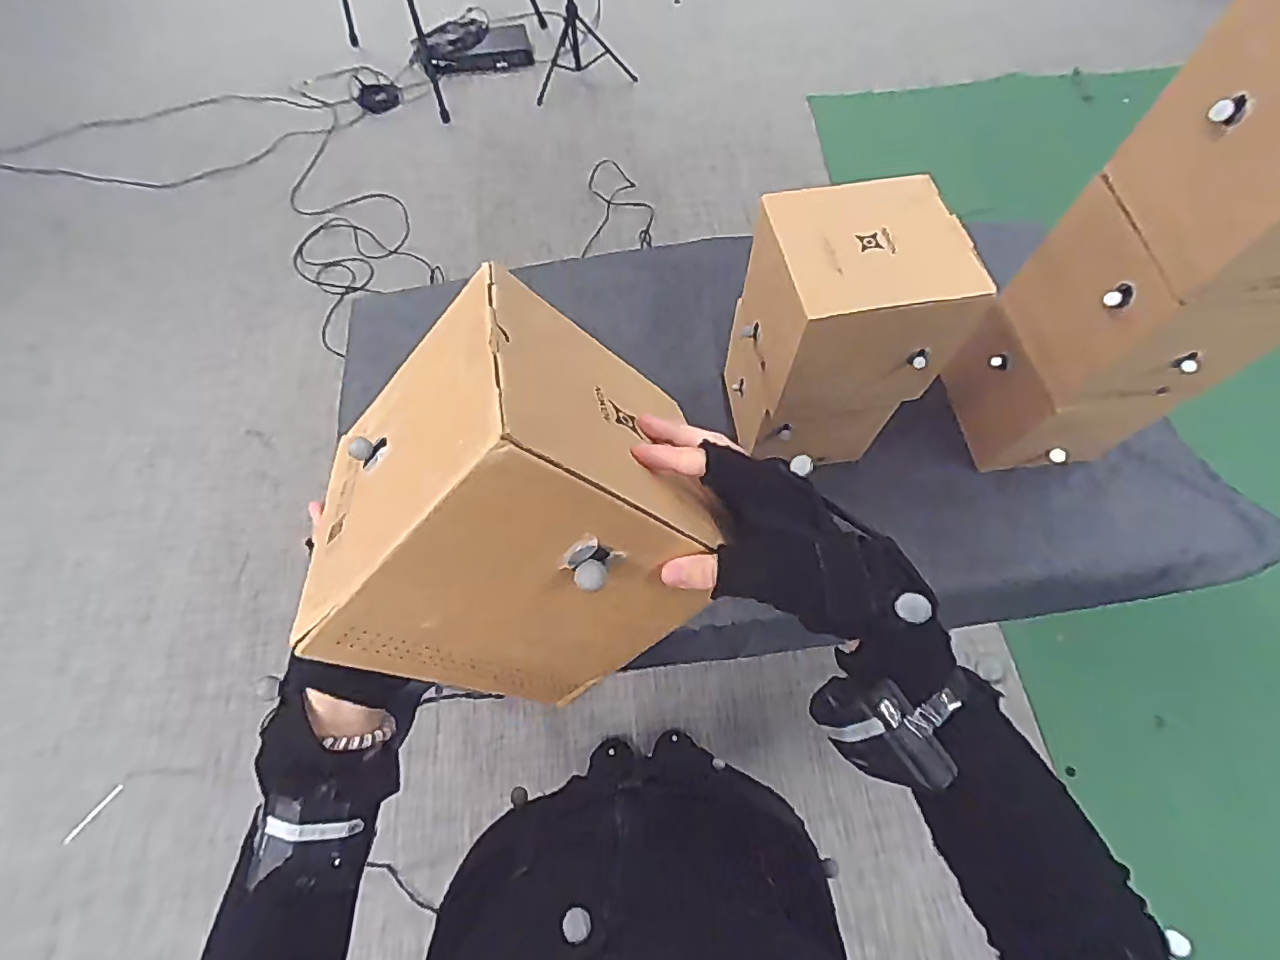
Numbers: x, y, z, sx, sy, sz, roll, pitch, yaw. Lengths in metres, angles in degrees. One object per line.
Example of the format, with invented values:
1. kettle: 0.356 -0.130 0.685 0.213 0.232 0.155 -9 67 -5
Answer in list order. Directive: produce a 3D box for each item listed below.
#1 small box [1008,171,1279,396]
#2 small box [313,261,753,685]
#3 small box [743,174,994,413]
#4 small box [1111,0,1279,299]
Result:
1. small box: 0.544 -0.202 0.577 0.168 0.176 0.179 -4 65 0
2. small box: -0.065 0.009 0.343 0.176 0.179 0.168 -41 42 22
3. small box: 0.223 -0.191 0.583 0.179 0.176 0.168 -8 64 -2
4. small box: 0.537 -0.269 0.427 0.168 0.176 0.179 -3 65 1
